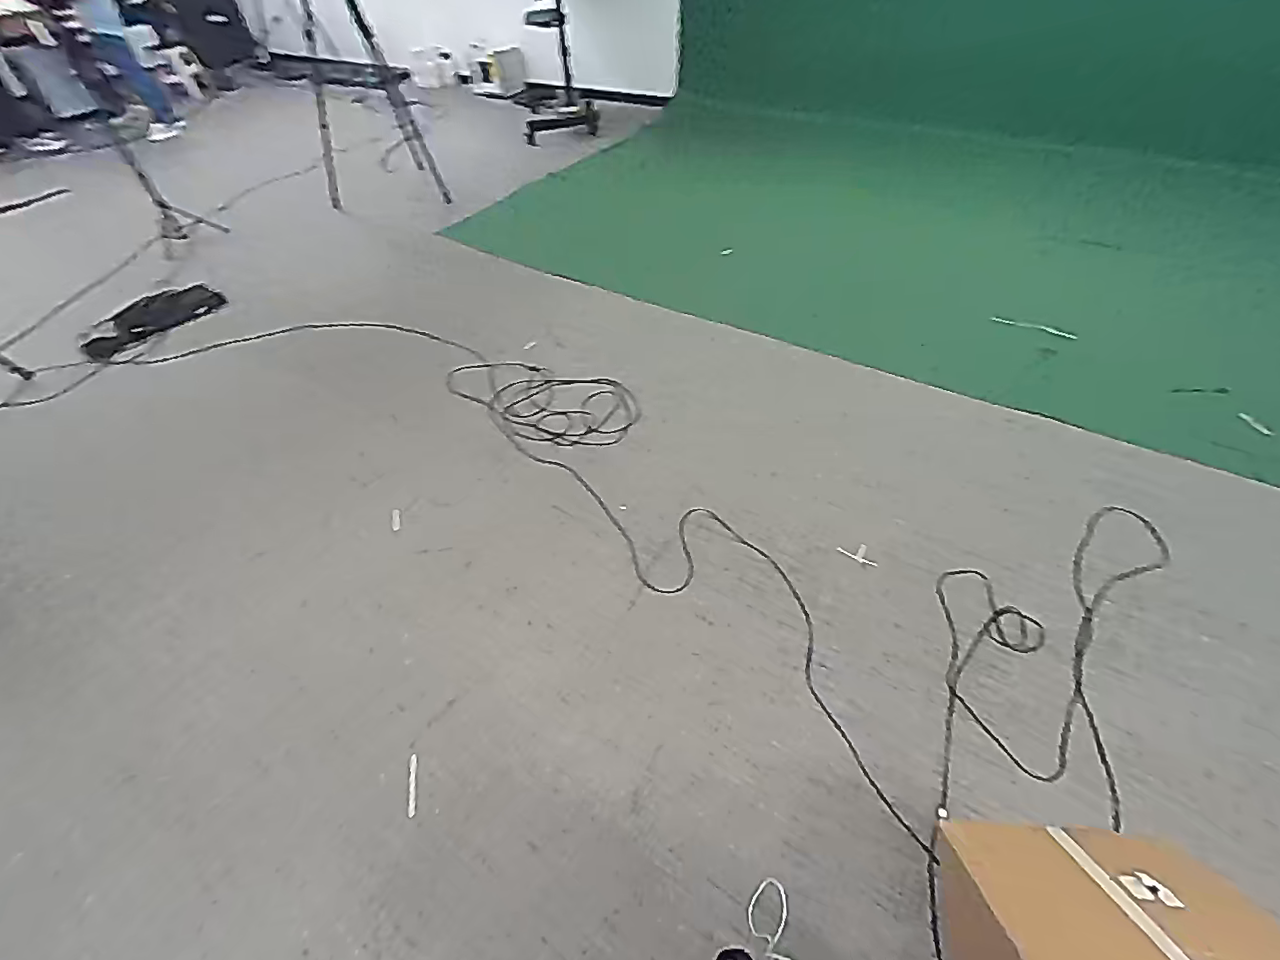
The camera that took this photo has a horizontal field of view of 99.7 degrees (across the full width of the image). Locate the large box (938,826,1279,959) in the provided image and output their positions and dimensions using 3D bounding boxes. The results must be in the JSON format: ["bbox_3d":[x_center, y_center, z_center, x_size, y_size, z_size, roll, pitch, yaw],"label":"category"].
[{"bbox_3d":[0.580,0.676,0.613,0.320,0.408,0.320,0,87,11],"label":"large box"}]
